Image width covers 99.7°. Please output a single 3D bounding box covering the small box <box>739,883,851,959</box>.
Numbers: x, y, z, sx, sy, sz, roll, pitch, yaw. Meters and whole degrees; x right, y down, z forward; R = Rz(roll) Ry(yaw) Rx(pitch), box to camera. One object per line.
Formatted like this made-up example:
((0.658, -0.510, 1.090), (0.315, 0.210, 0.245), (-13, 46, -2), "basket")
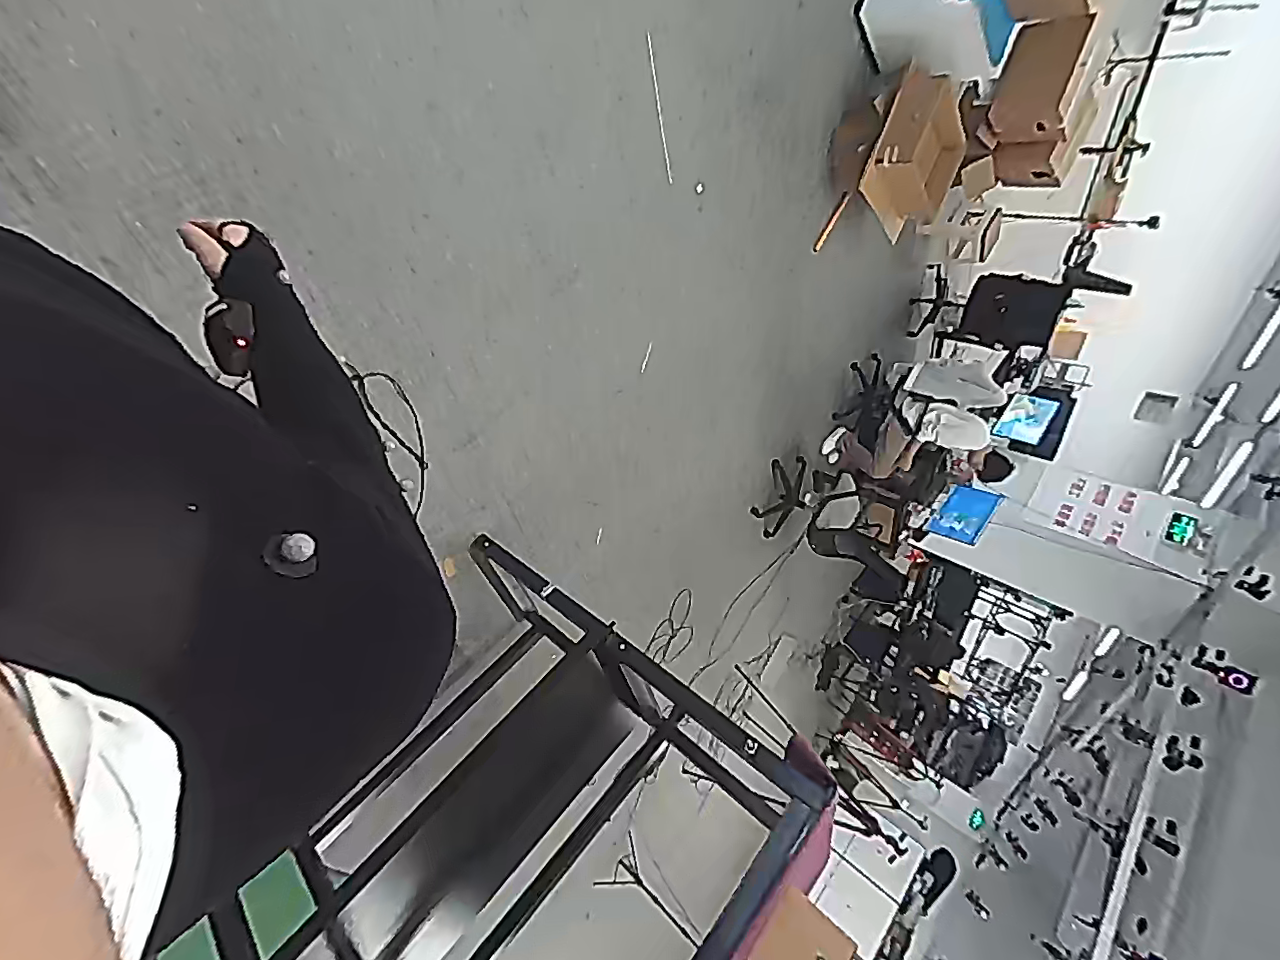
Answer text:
((0.338, 1.035, 1.185), (0.179, 0.176, 0.168), (-43, 138, -24), "small box")
